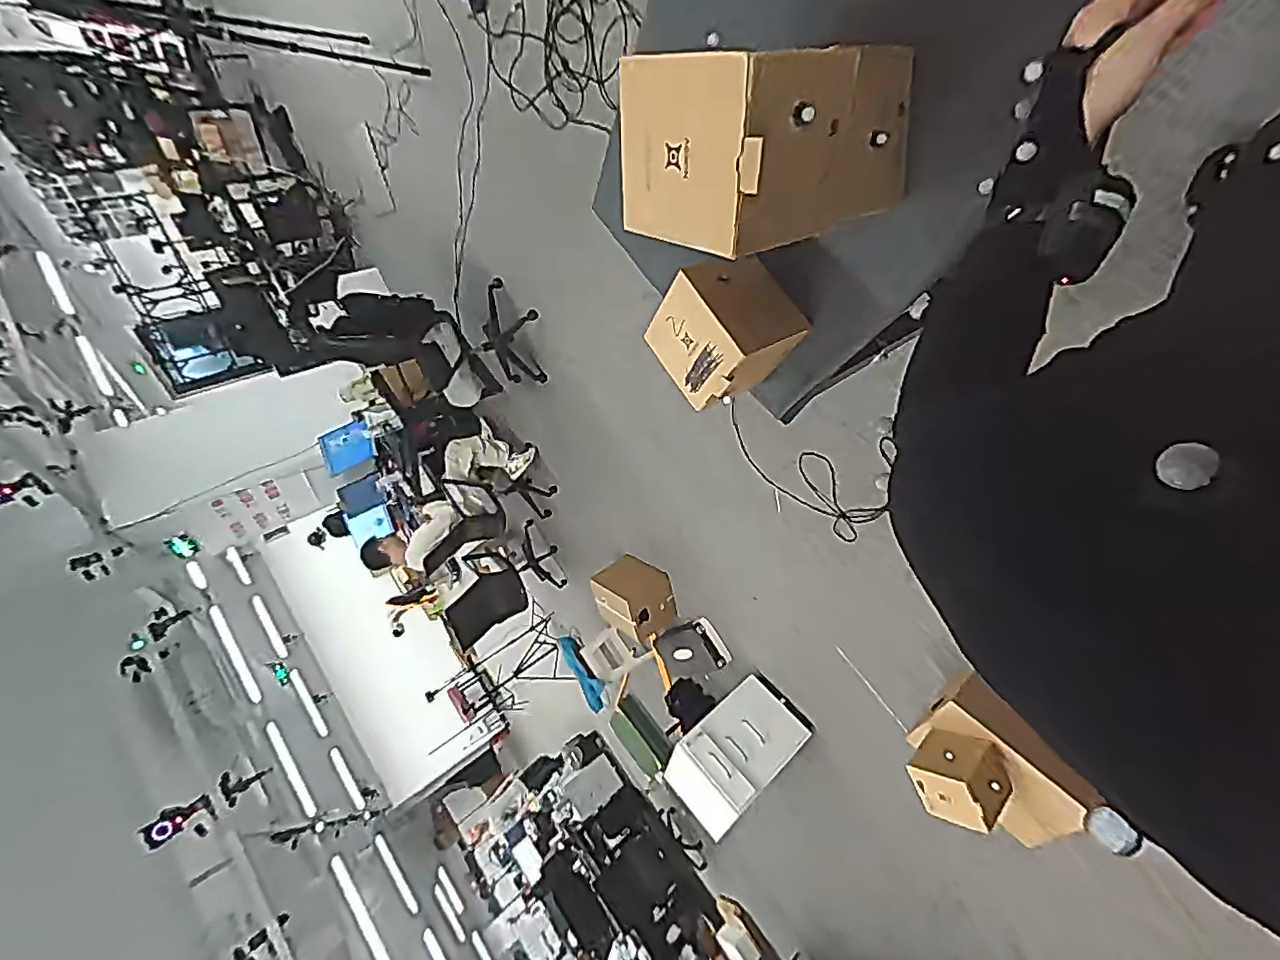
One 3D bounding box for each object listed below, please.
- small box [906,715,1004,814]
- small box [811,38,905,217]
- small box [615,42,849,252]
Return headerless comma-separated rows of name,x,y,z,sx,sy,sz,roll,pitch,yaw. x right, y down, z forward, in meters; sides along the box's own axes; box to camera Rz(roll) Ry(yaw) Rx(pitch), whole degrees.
small box,0.913,0.805,1.553,0.179,0.176,0.168,-18,100,57
small box,0.207,-0.431,0.679,0.179,0.176,0.168,23,133,46
small box,0.095,-0.363,0.582,0.179,0.176,0.168,35,140,37
